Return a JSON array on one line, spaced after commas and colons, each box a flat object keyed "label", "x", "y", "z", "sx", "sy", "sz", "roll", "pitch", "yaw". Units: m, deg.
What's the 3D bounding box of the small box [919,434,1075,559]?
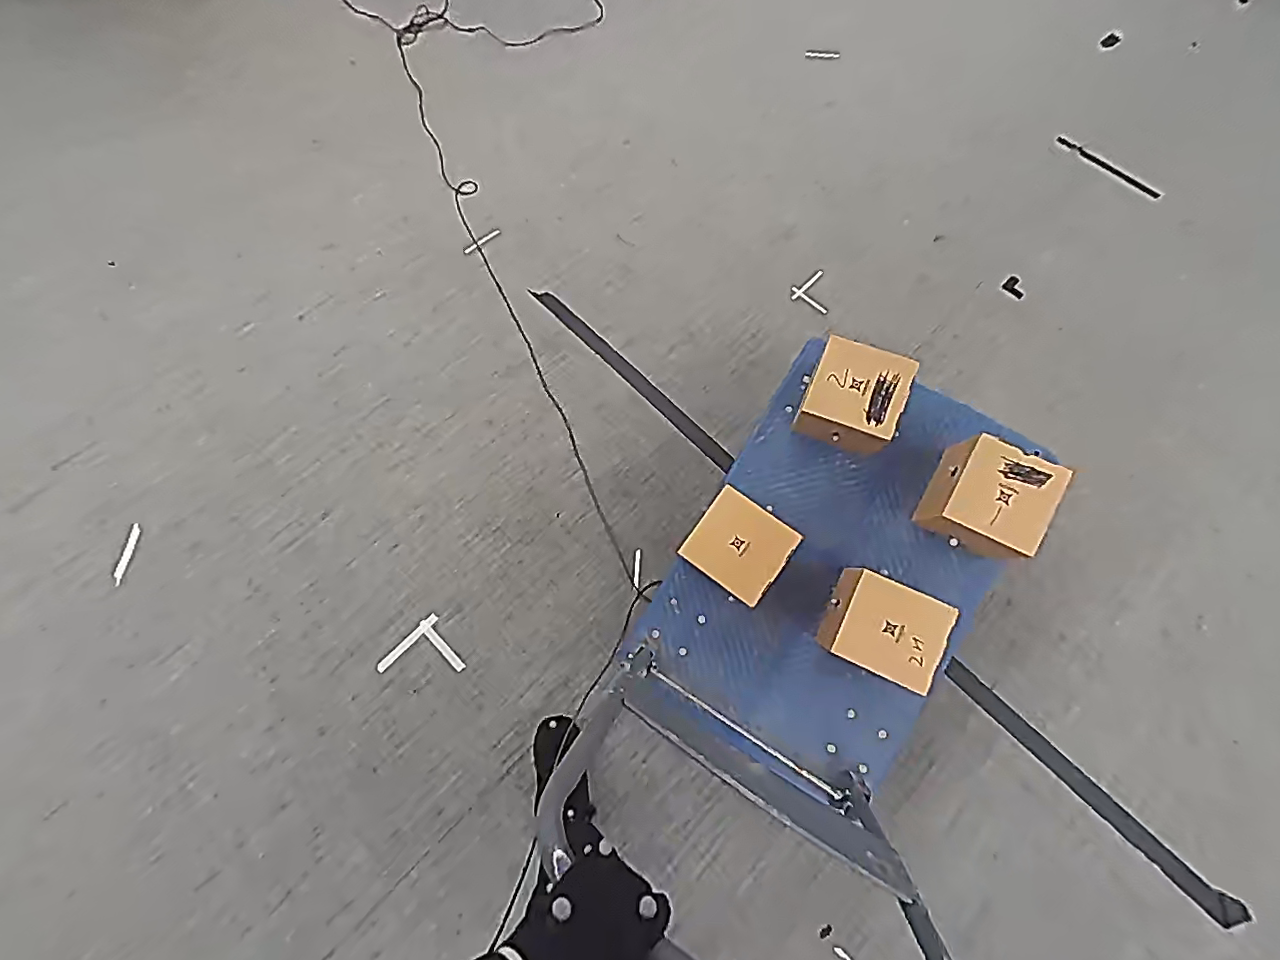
[{"label": "small box", "x": 0.671, "y": 0.038, "z": 1.042, "sx": 0.168, "sy": 0.176, "sz": 0.179, "roll": 27, "pitch": 87, "yaw": 12}]

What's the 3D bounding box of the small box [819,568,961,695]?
[{"label": "small box", "x": 0.464, "y": 0.280, "z": 1.034, "sx": 0.179, "sy": 0.176, "sz": 0.168, "roll": 24, "pitch": 85, "yaw": 11}]

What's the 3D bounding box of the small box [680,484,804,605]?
[{"label": "small box", "x": 0.200, "y": 0.133, "z": 1.096, "sx": 0.179, "sy": 0.176, "sz": 0.168, "roll": 36, "pitch": 87, "yaw": 10}]
